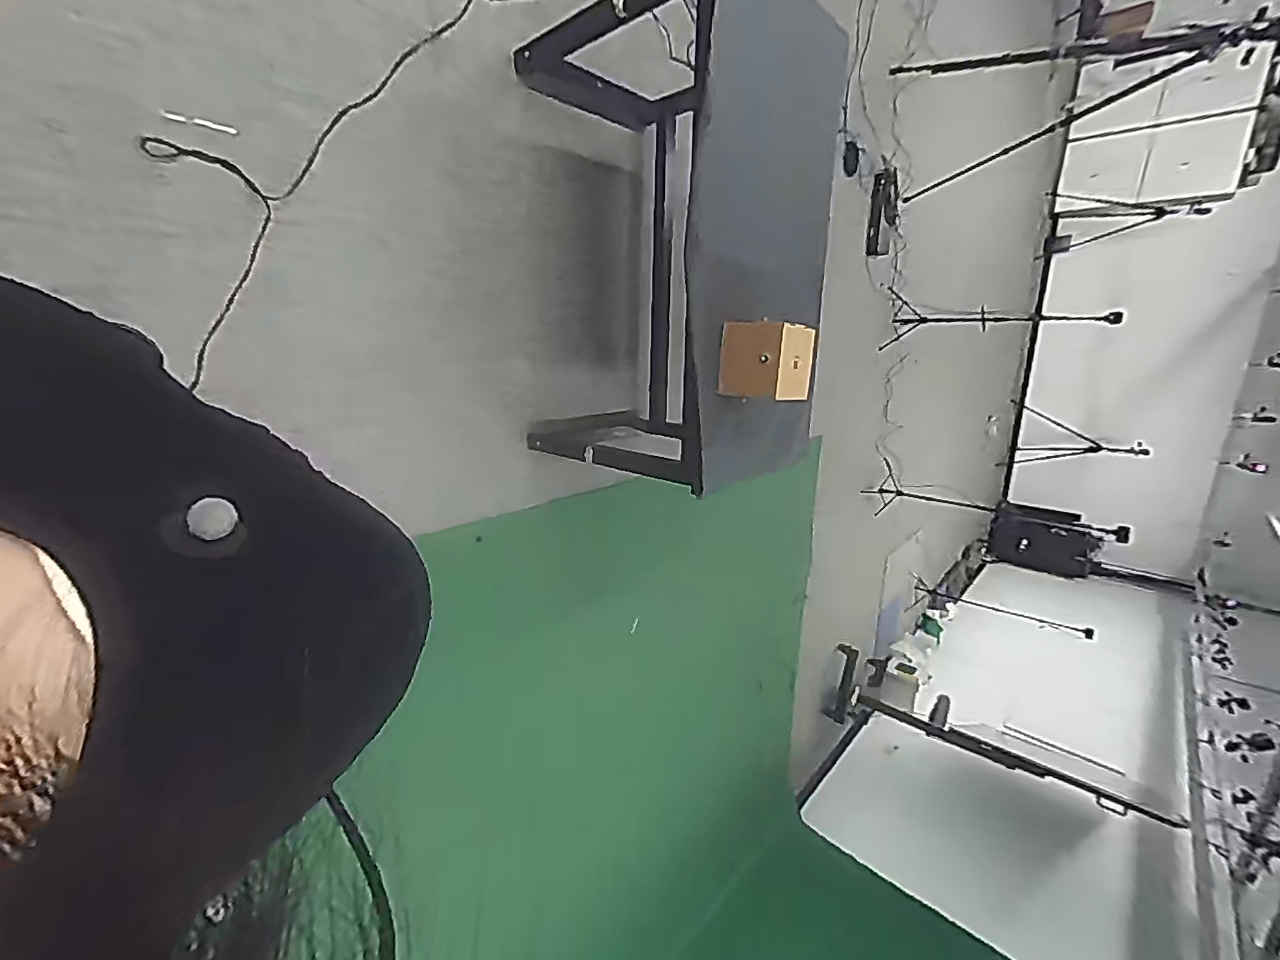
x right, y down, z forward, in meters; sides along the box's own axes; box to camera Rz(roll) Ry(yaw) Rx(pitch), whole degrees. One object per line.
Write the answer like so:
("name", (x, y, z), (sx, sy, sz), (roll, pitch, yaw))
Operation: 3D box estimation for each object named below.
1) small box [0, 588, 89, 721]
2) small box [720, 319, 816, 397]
("small box", (-1.102, 0.301, 0.948), (0.168, 0.176, 0.179), (-10, 106, -47))
("small box", (0.312, -0.297, 1.329), (0.168, 0.176, 0.179), (-10, 108, -47))
